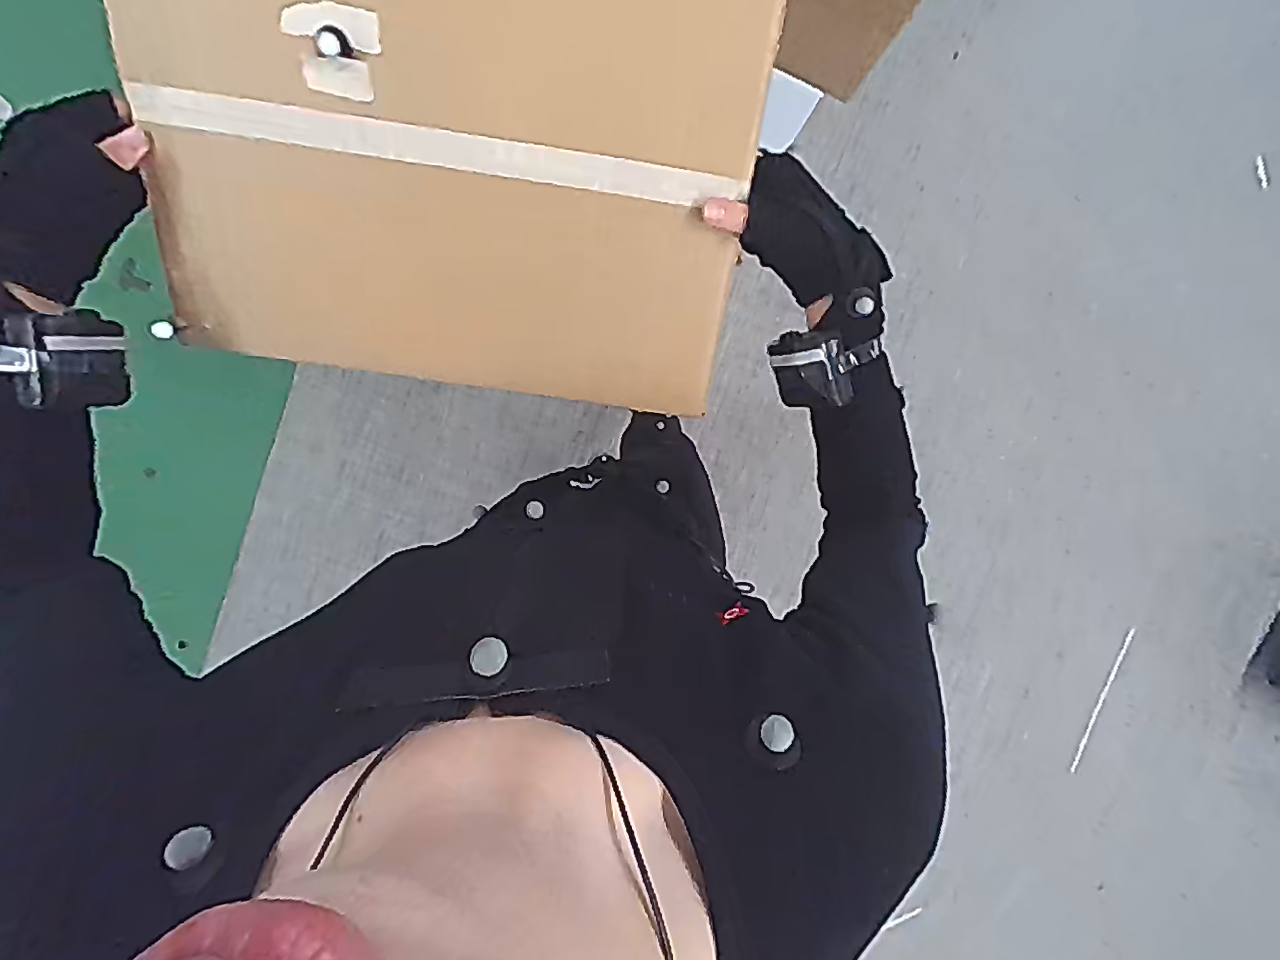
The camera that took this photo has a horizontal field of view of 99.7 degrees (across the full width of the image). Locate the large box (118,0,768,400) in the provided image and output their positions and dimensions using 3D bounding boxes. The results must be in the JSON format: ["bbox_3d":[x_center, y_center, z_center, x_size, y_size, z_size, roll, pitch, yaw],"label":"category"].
[{"bbox_3d":[-0.125,-0.282,0.497,0.408,0.320,0.320,7,113,-2],"label":"large box"}]
